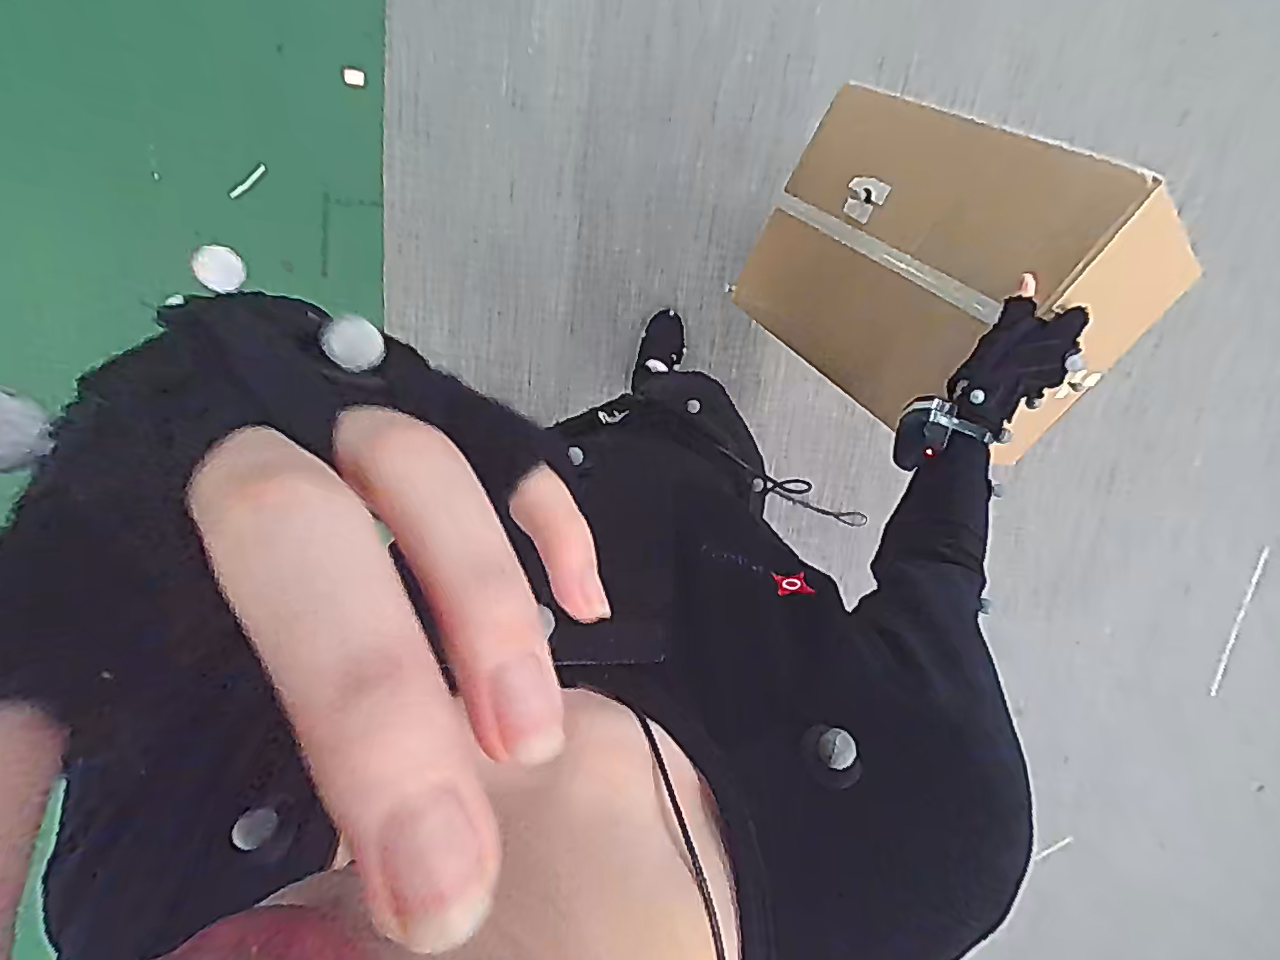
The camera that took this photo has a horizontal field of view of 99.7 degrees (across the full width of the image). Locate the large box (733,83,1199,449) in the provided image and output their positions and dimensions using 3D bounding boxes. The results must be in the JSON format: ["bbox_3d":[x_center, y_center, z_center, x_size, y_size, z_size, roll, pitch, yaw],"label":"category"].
[{"bbox_3d":[0.419,-0.284,0.761,0.320,0.408,0.320,3,128,-39],"label":"large box"}]
